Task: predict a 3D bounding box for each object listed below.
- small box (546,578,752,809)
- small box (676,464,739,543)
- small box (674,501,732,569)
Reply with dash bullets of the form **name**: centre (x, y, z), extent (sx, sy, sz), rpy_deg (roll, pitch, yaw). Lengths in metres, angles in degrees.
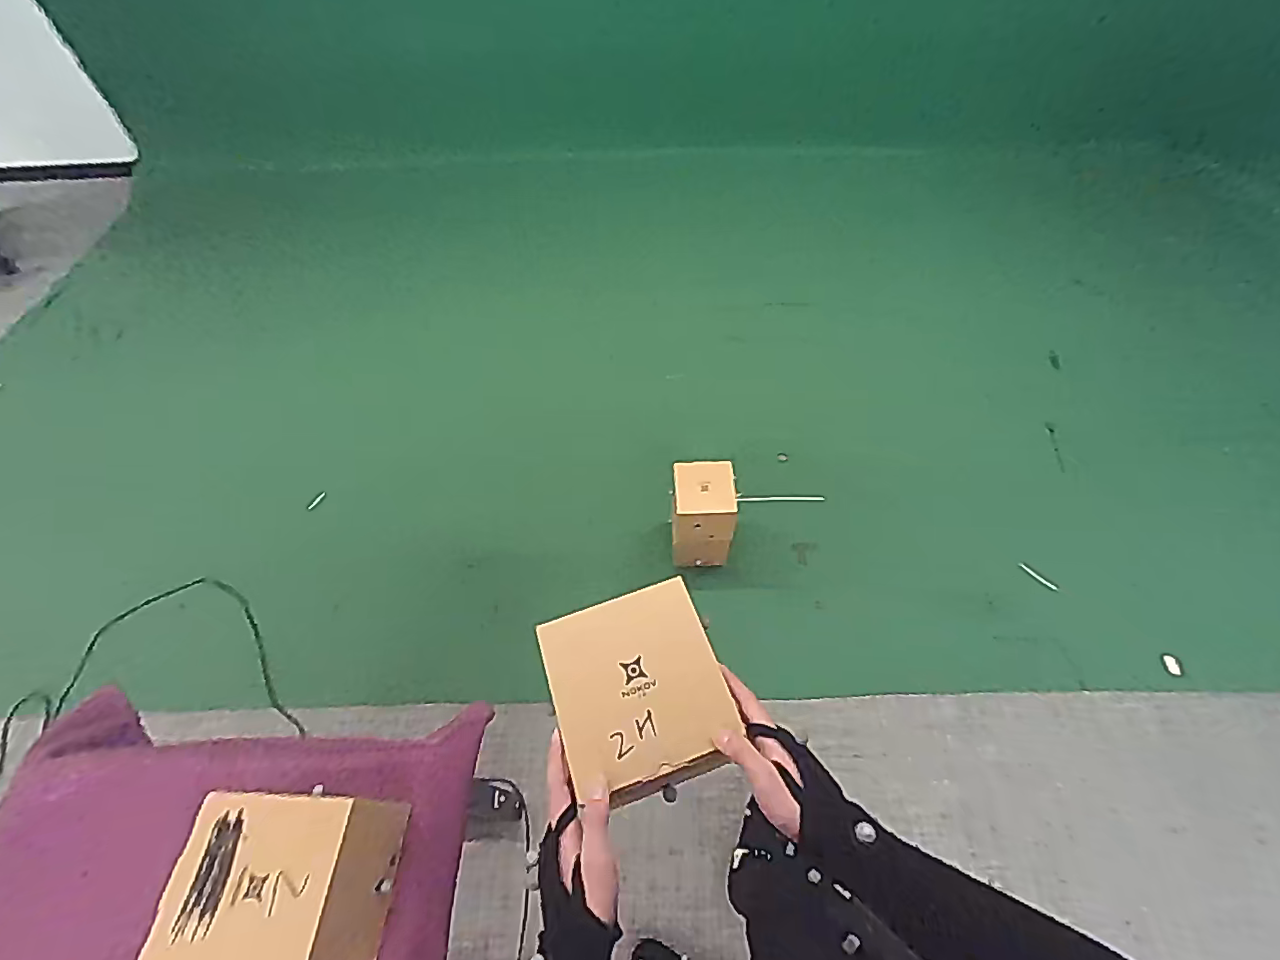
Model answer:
- **small box**: centre (0.006, 0.239, 0.597), extent (0.168, 0.176, 0.179), rpy_deg (-17, 57, -7)
- **small box**: centre (0.191, 0.074, 1.572), extent (0.168, 0.176, 0.179), rpy_deg (-2, 54, 2)
- **small box**: centre (0.193, 0.166, 1.704), extent (0.168, 0.176, 0.179), rpy_deg (-2, 56, 1)
